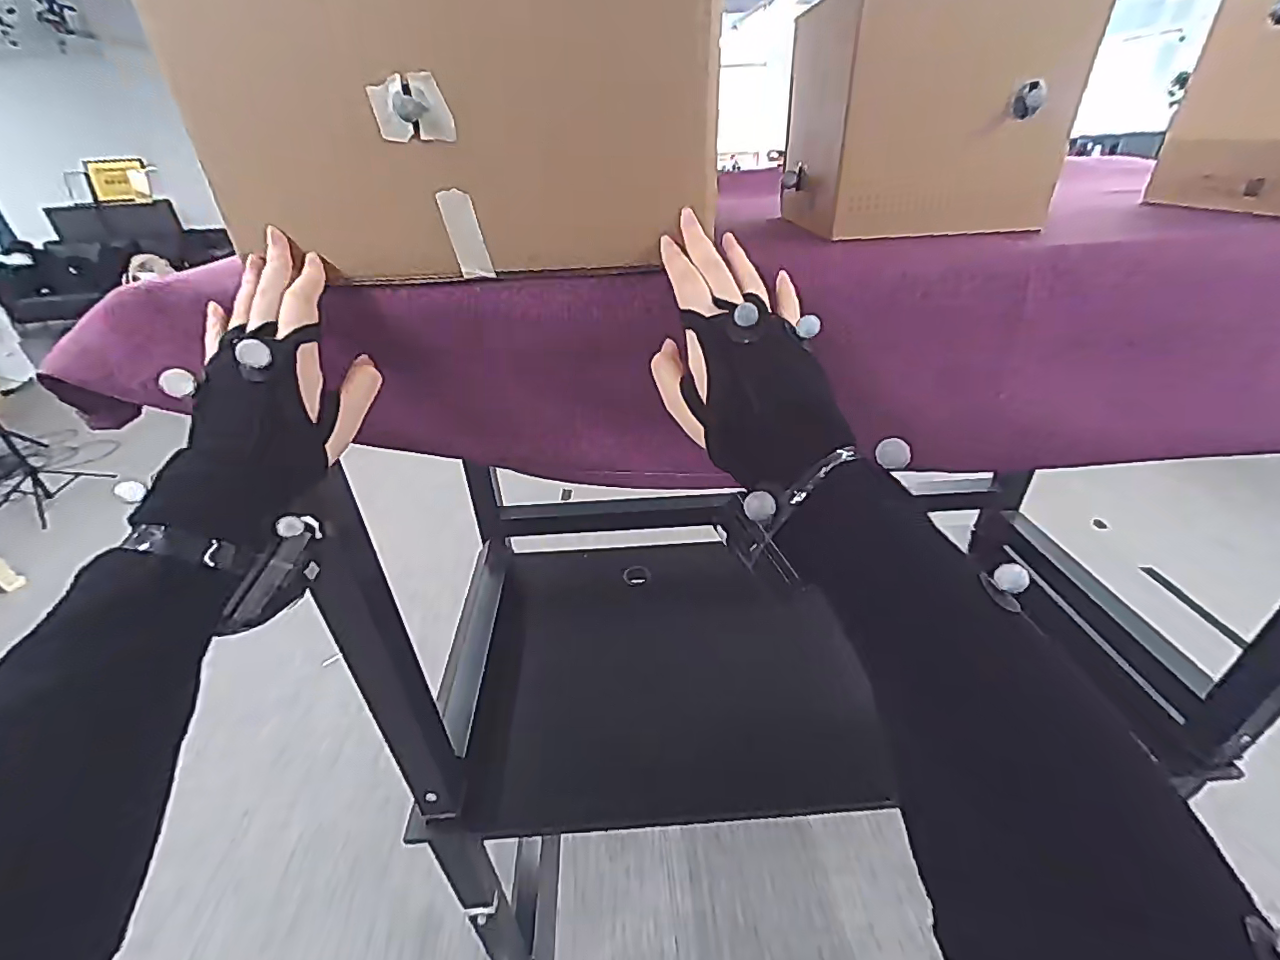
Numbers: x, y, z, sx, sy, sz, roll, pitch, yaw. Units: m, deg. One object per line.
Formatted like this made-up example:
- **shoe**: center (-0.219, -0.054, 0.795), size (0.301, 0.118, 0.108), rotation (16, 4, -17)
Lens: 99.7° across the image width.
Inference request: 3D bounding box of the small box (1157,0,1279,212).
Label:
- **small box**: center (0.600, -0.321, 0.442), size (0.179, 0.176, 0.168), rotation (-4, 31, -3)

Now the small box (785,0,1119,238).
- **small box**: center (0.235, -0.311, 0.460), size (0.179, 0.176, 0.168), rotation (-3, 31, 0)

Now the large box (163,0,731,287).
- **large box**: center (-0.110, -0.364, 0.446), size (0.320, 0.320, 0.408), rotation (-2, 31, 0)
